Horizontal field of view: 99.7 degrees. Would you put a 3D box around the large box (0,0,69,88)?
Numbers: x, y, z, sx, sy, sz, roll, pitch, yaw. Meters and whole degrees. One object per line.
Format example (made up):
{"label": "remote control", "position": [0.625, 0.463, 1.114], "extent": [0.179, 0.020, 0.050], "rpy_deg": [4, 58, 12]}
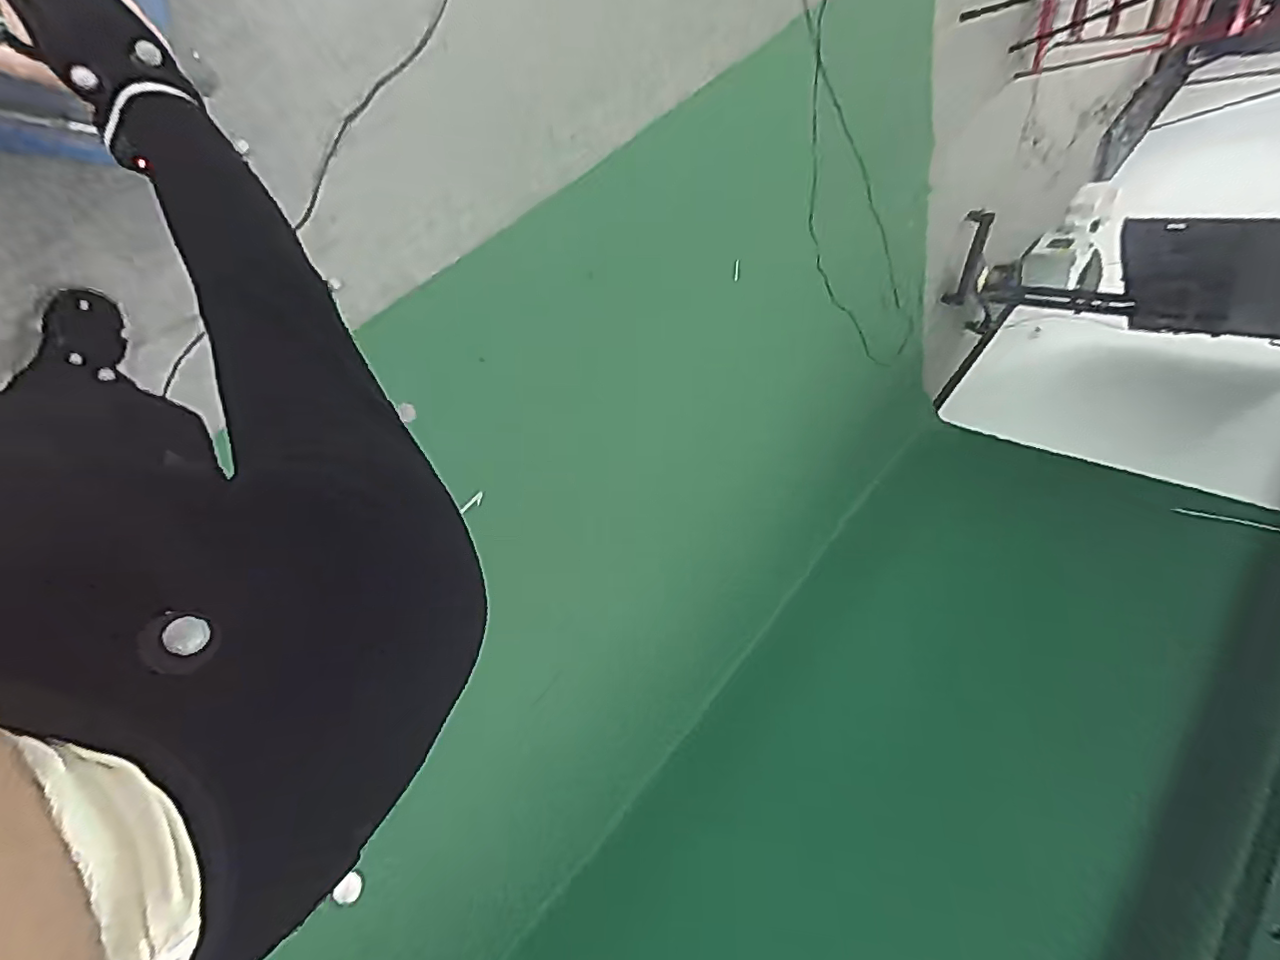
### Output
{"label": "large box", "position": [-0.931, -0.749, 0.618], "extent": [0.320, 0.320, 0.408], "rpy_deg": [-13, 117, -42]}
